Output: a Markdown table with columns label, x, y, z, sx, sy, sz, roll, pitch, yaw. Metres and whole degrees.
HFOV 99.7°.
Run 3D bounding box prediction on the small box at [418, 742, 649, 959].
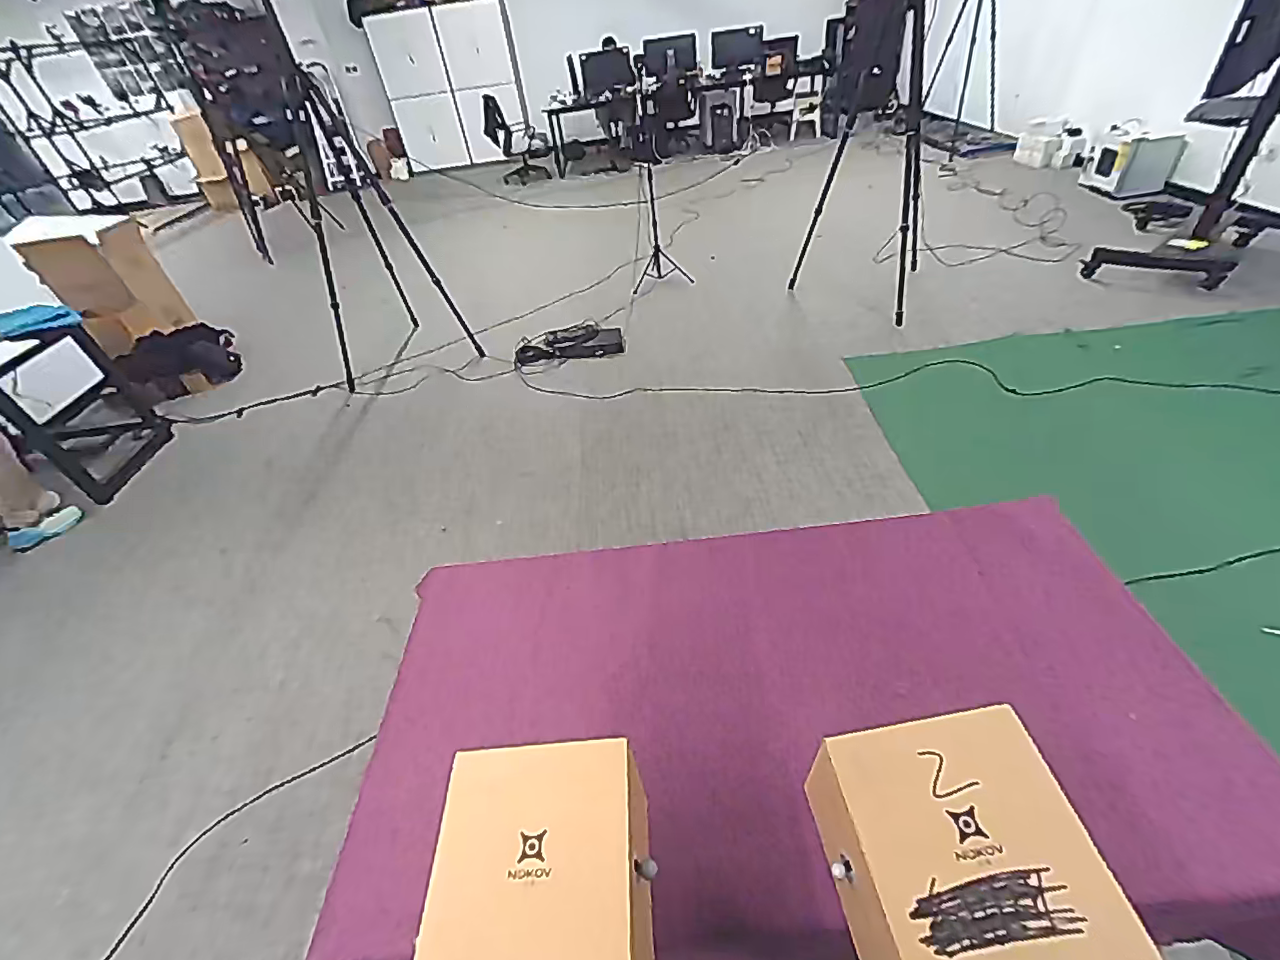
| label | x | y | z | sx | sy | sz | roll | pitch | yaw |
| --- | --- | --- | --- | --- | --- | --- | --- | --- | --- |
| small box | -0.083 | 0.375 | 0.512 | 0.168 | 0.176 | 0.179 | -7 | 43 | 3 |
